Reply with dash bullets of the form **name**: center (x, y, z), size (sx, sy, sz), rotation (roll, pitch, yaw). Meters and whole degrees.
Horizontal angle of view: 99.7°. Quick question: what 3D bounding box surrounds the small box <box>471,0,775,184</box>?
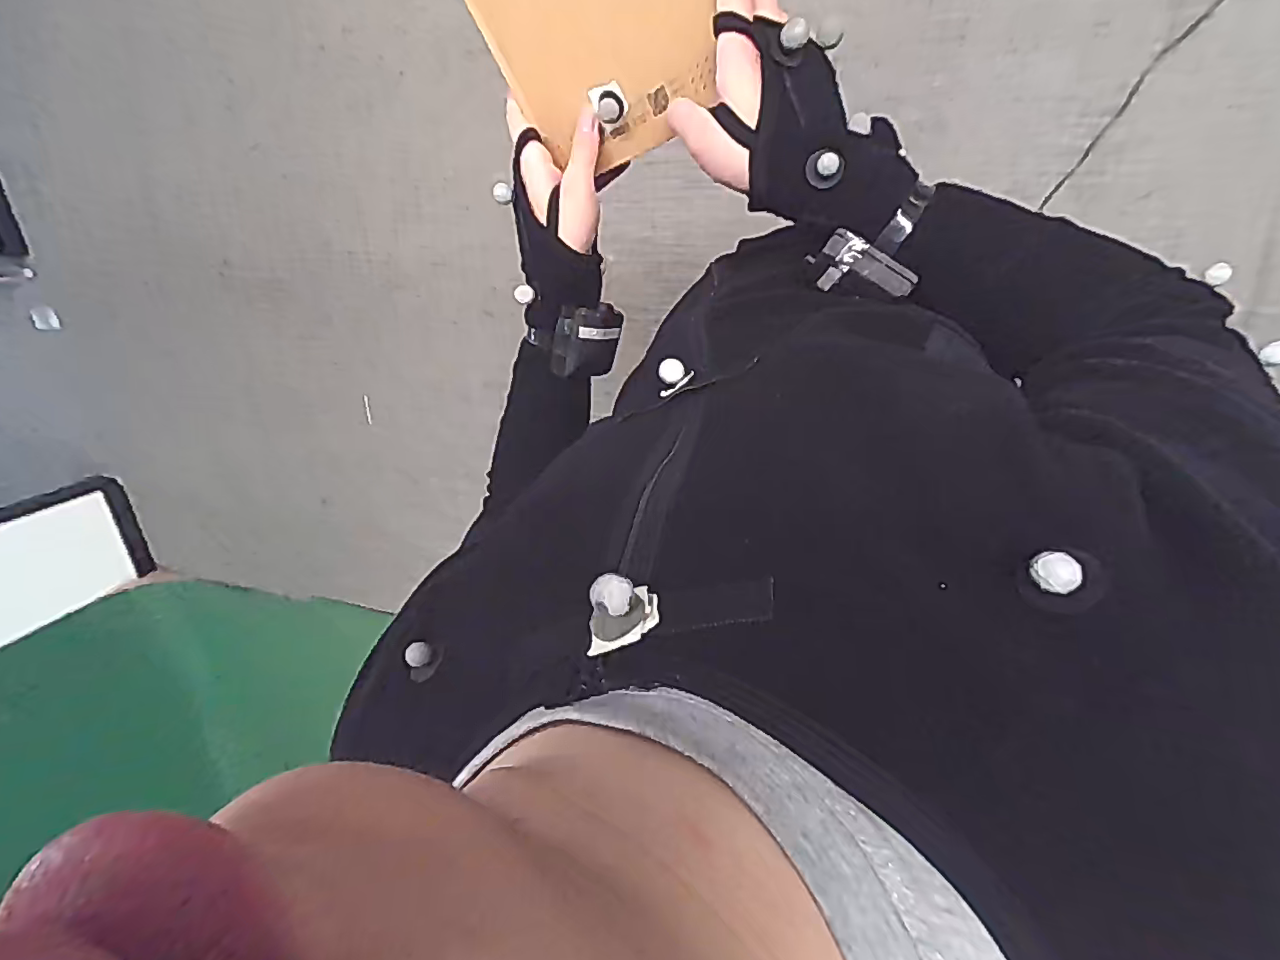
- **small box**: center (-0.006, -0.363, 0.418), size (0.168, 0.179, 0.176), rotation (-10, 129, 33)
